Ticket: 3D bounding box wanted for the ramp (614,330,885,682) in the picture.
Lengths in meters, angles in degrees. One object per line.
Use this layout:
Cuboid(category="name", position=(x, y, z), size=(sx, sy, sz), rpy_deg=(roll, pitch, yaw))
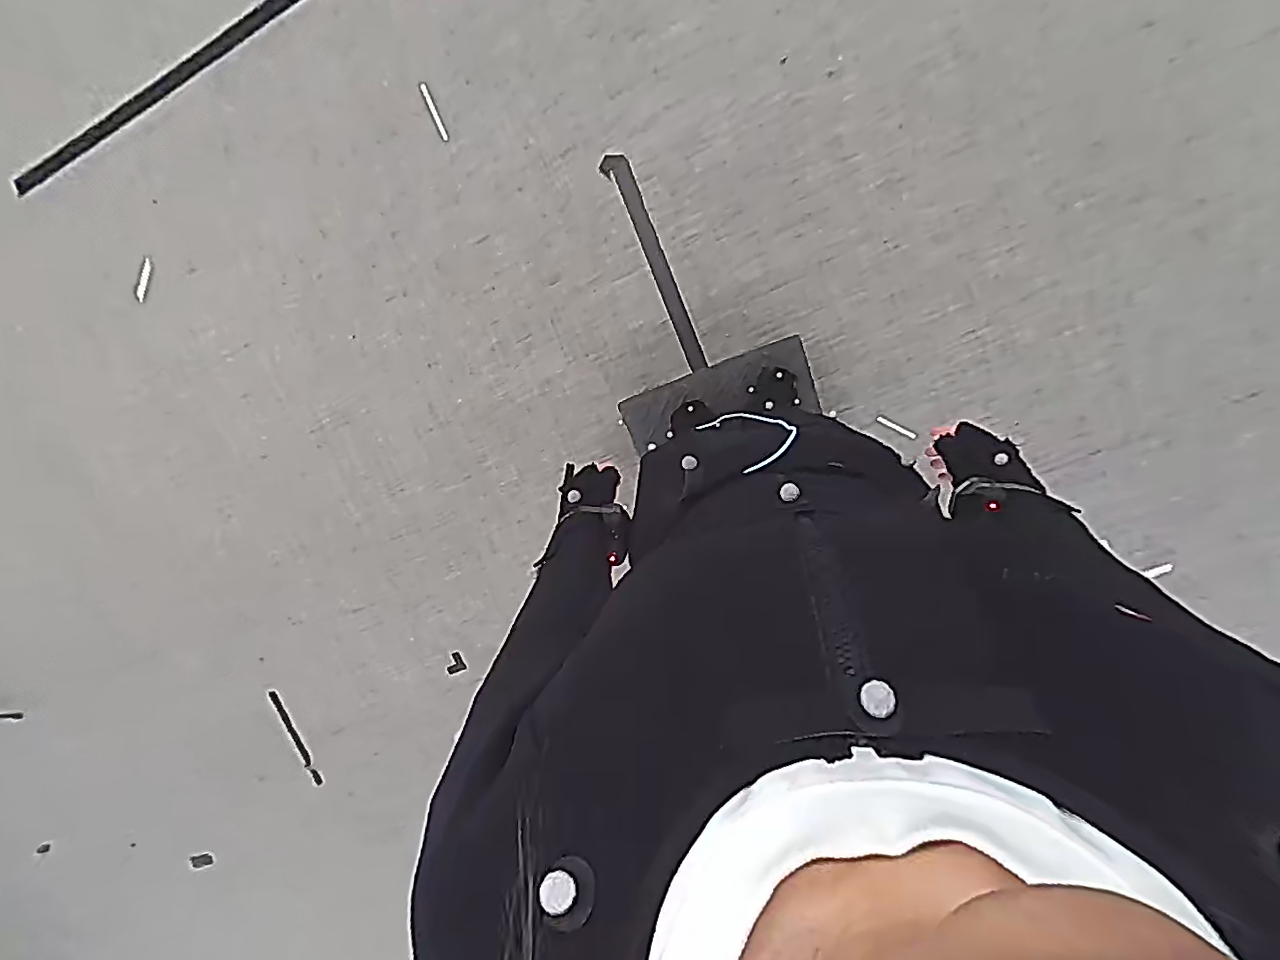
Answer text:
Cuboid(category="ramp", position=(0.341, 0.136, 1.529), size=(0.509, 0.206, 0.991), rpy_deg=(-22, 99, 10))
